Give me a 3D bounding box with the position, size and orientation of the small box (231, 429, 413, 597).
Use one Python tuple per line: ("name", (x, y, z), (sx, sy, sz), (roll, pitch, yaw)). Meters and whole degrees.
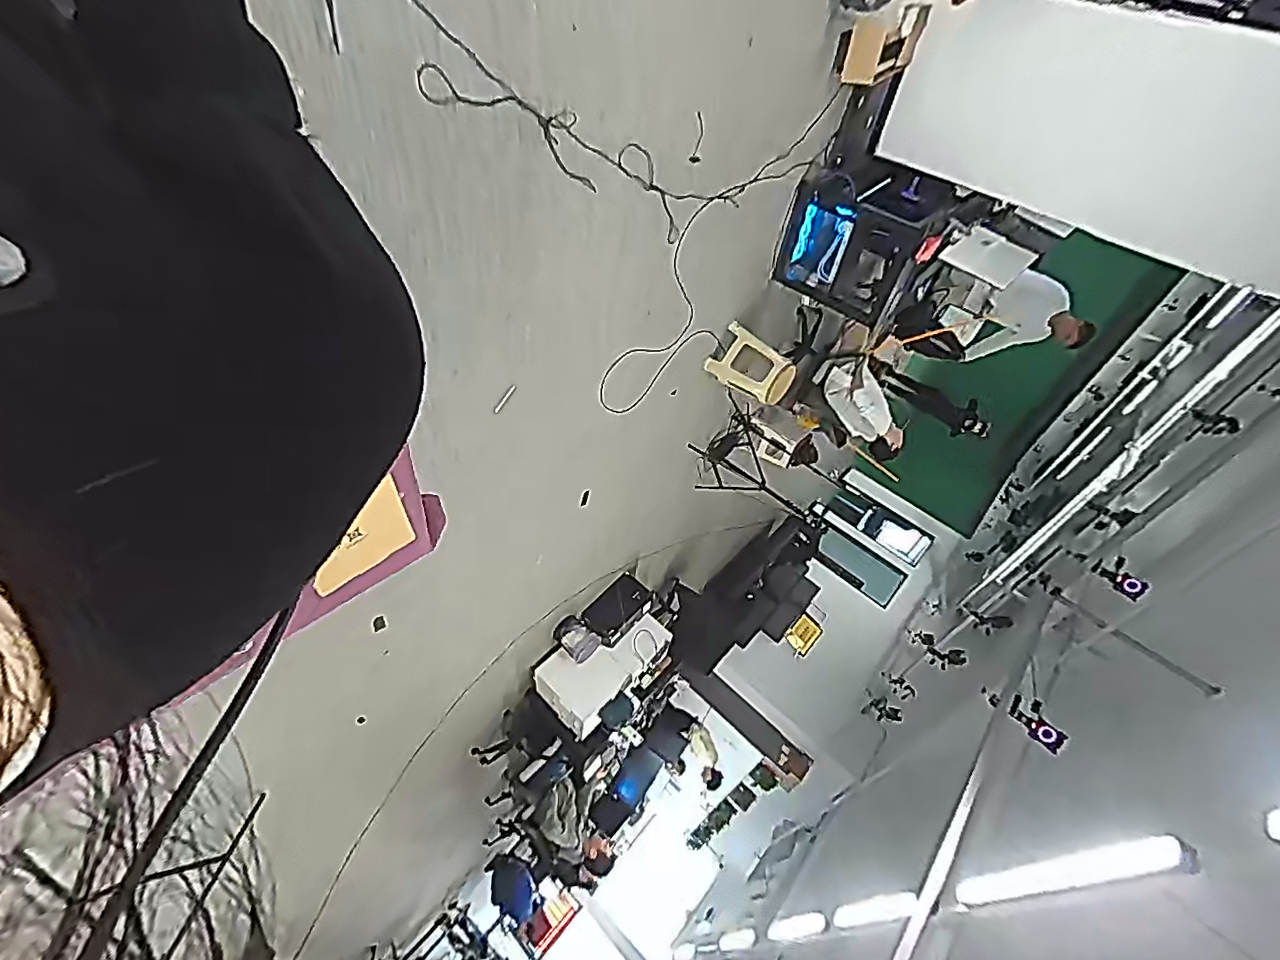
("small box", (-0.496, 0.043, 0.855), (0.168, 0.176, 0.179), (-37, 153, -31))
